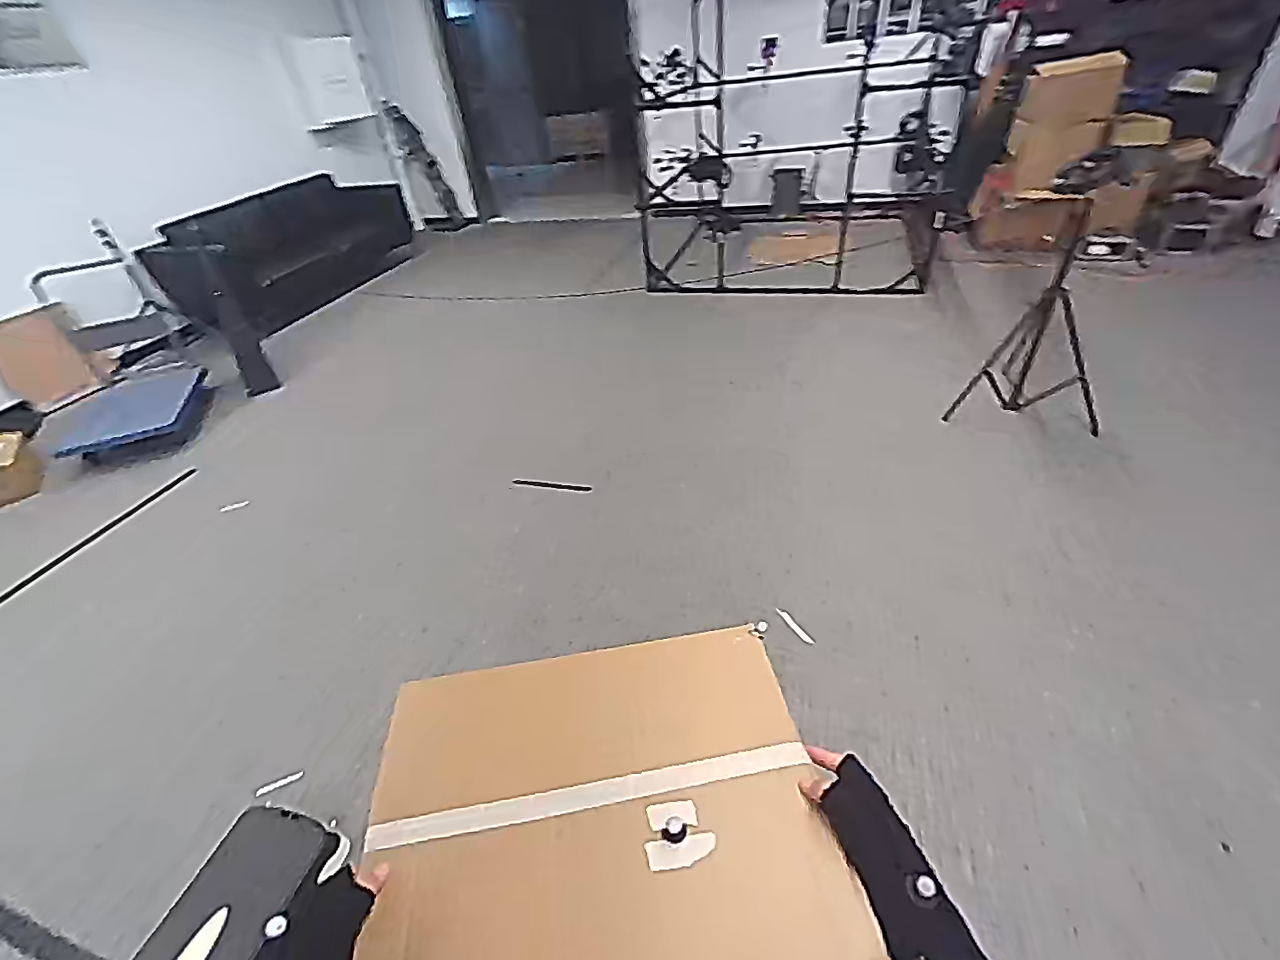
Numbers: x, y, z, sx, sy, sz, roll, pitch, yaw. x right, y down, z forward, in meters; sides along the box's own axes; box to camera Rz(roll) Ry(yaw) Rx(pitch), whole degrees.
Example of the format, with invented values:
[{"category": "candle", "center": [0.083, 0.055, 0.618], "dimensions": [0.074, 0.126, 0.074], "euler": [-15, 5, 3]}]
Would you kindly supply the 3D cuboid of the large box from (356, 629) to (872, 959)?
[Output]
[{"category": "large box", "center": [-0.034, 0.414, 0.595], "dimensions": [0.408, 0.320, 0.320], "euler": [-8, 37, -6]}]
